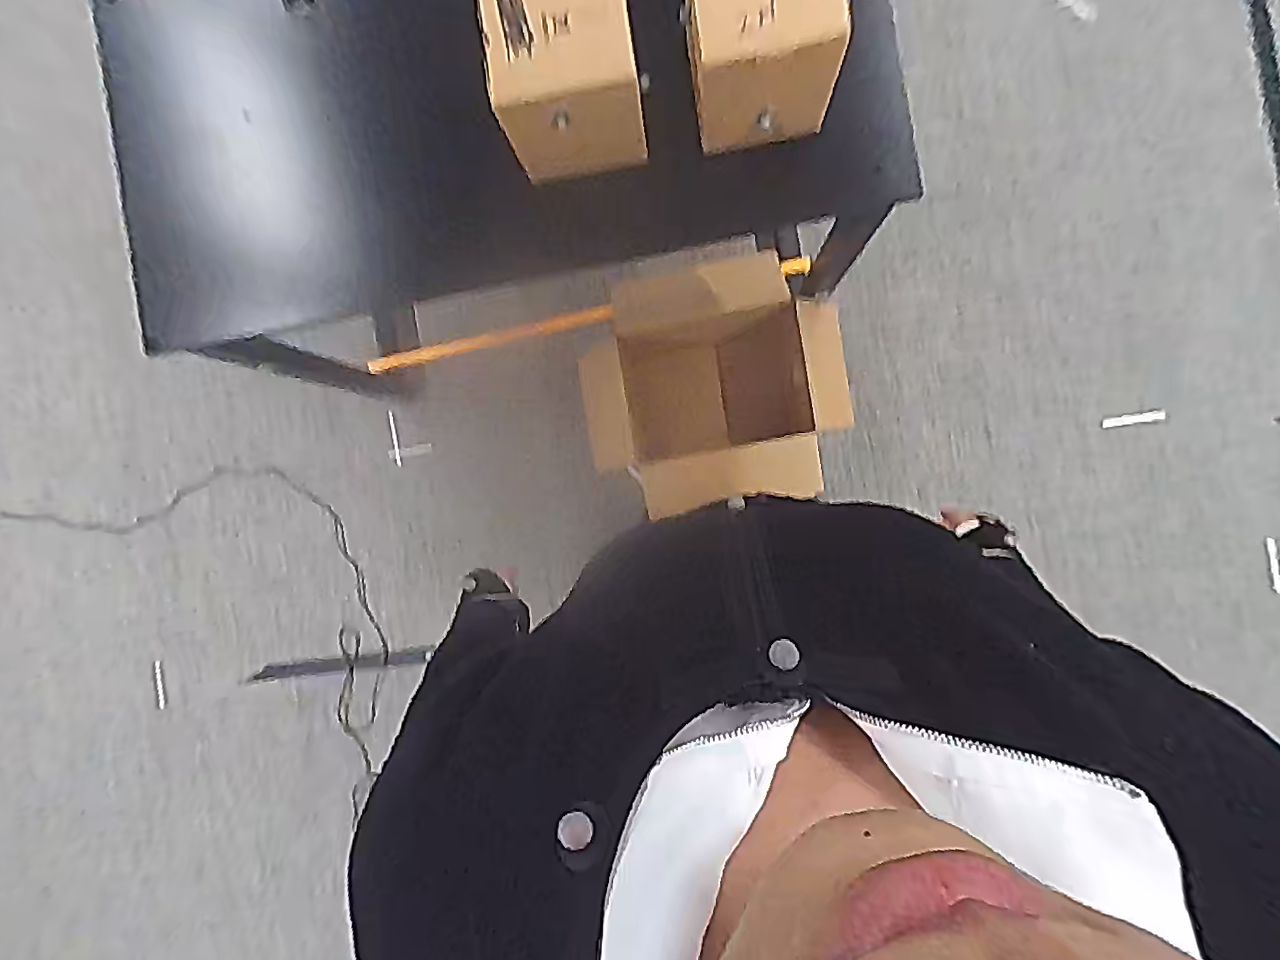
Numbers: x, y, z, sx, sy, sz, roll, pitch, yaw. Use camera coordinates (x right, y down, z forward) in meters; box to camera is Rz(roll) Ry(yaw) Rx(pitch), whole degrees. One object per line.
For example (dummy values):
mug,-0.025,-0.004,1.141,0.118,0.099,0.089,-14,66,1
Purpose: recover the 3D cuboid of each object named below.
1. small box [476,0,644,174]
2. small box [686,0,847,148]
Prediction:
small box,-0.095,-0.532,0.707,0.179,0.176,0.168,-7,90,5
small box,0.146,-0.565,0.682,0.168,0.176,0.179,-7,89,7
